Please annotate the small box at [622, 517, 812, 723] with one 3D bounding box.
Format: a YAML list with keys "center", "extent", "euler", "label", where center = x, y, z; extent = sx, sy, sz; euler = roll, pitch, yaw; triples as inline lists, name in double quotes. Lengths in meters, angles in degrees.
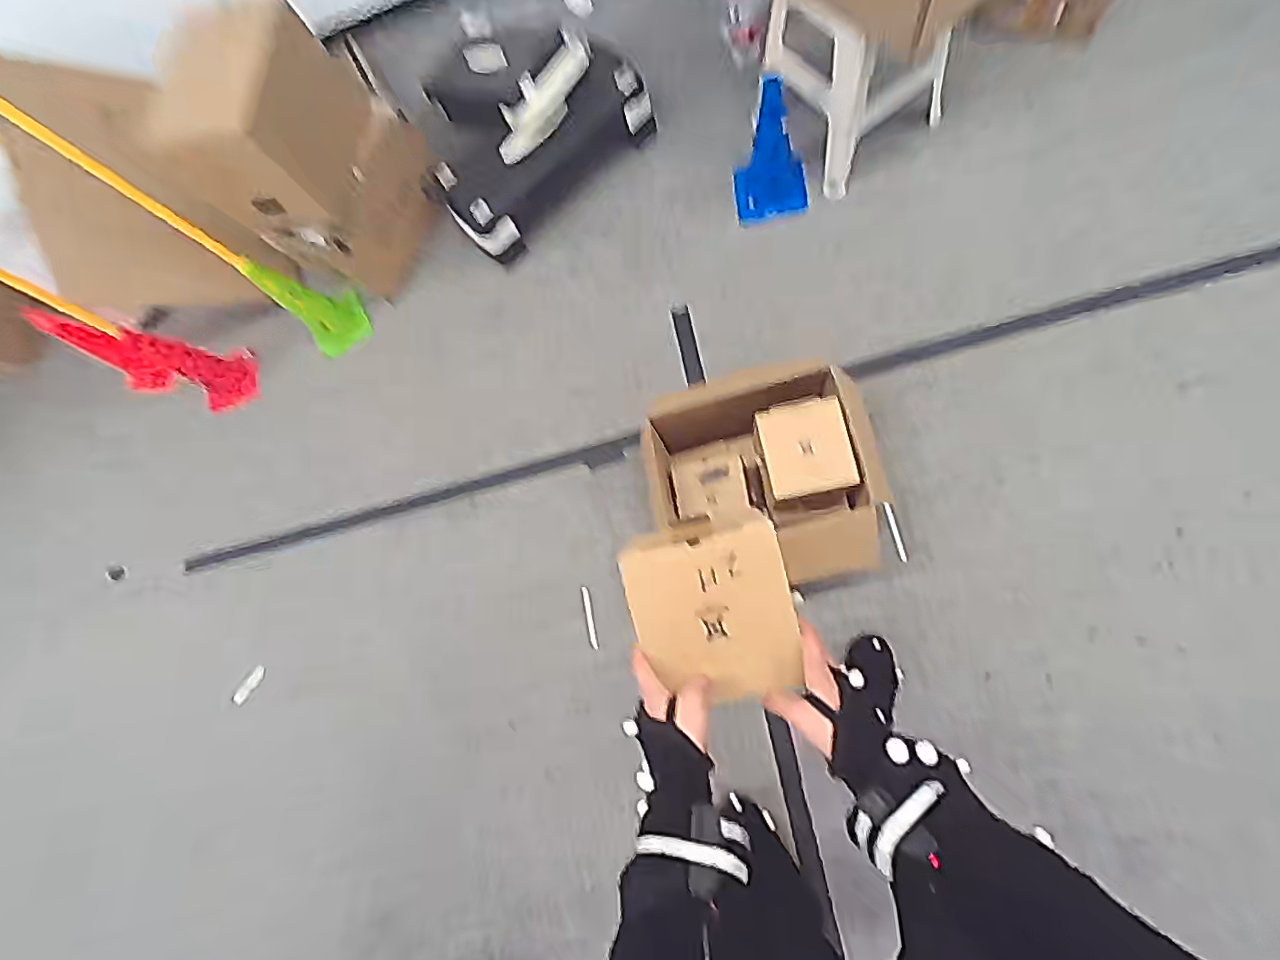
- center: [0.086, 0.149, 0.631]
  extent: [0.168, 0.176, 0.179]
  euler: [-13, 89, 5]
  label: "small box"
